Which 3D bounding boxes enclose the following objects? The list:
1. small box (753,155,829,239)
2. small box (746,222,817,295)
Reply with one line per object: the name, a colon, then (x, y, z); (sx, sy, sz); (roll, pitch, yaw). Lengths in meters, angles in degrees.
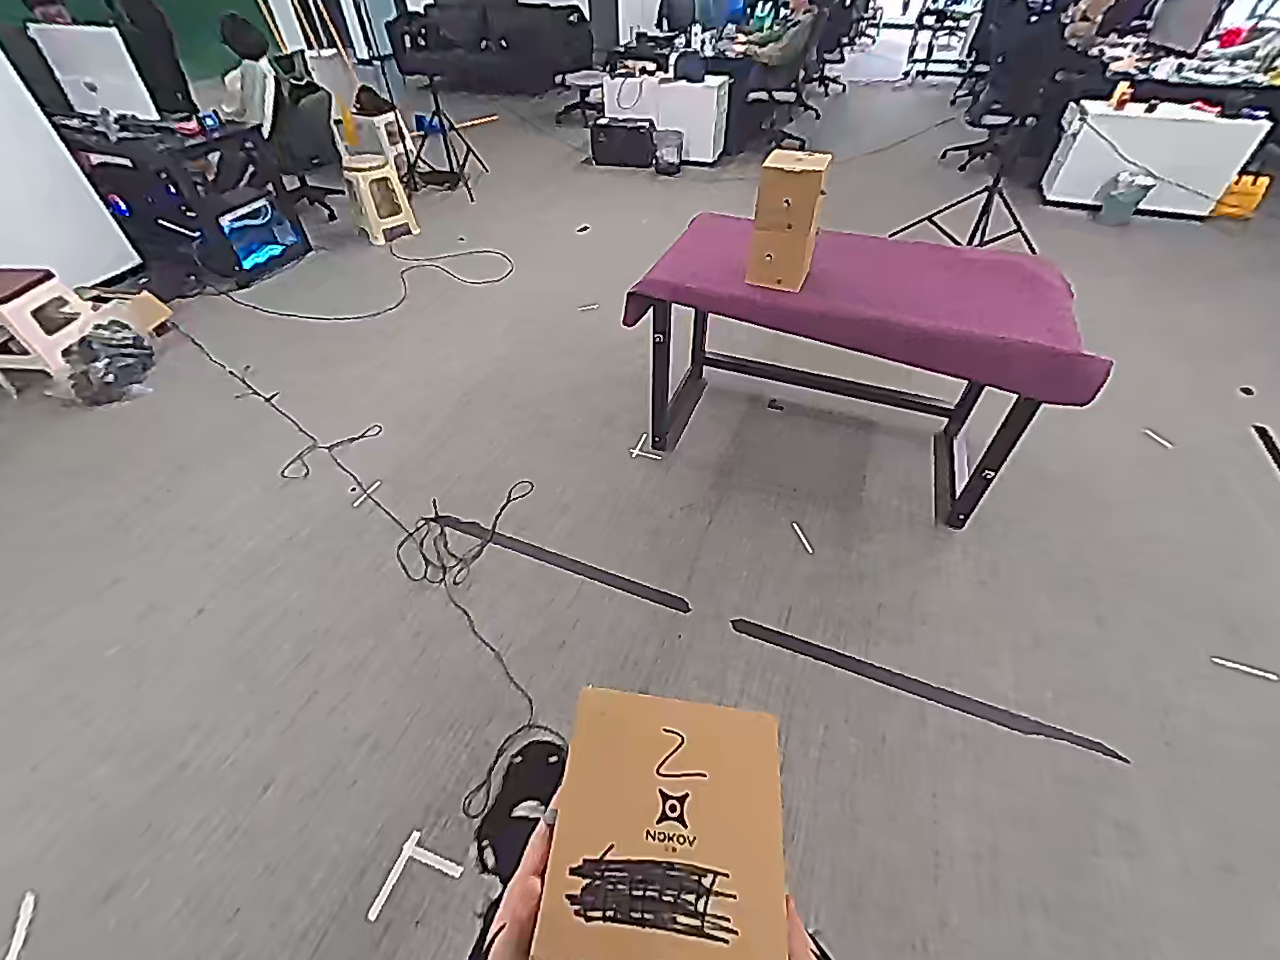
small box: (0.429, -0.809, 1.548); (0.168, 0.176, 0.179); (16, 47, 15)
small box: (0.430, -0.689, 1.660); (0.168, 0.176, 0.179); (17, 47, 16)
